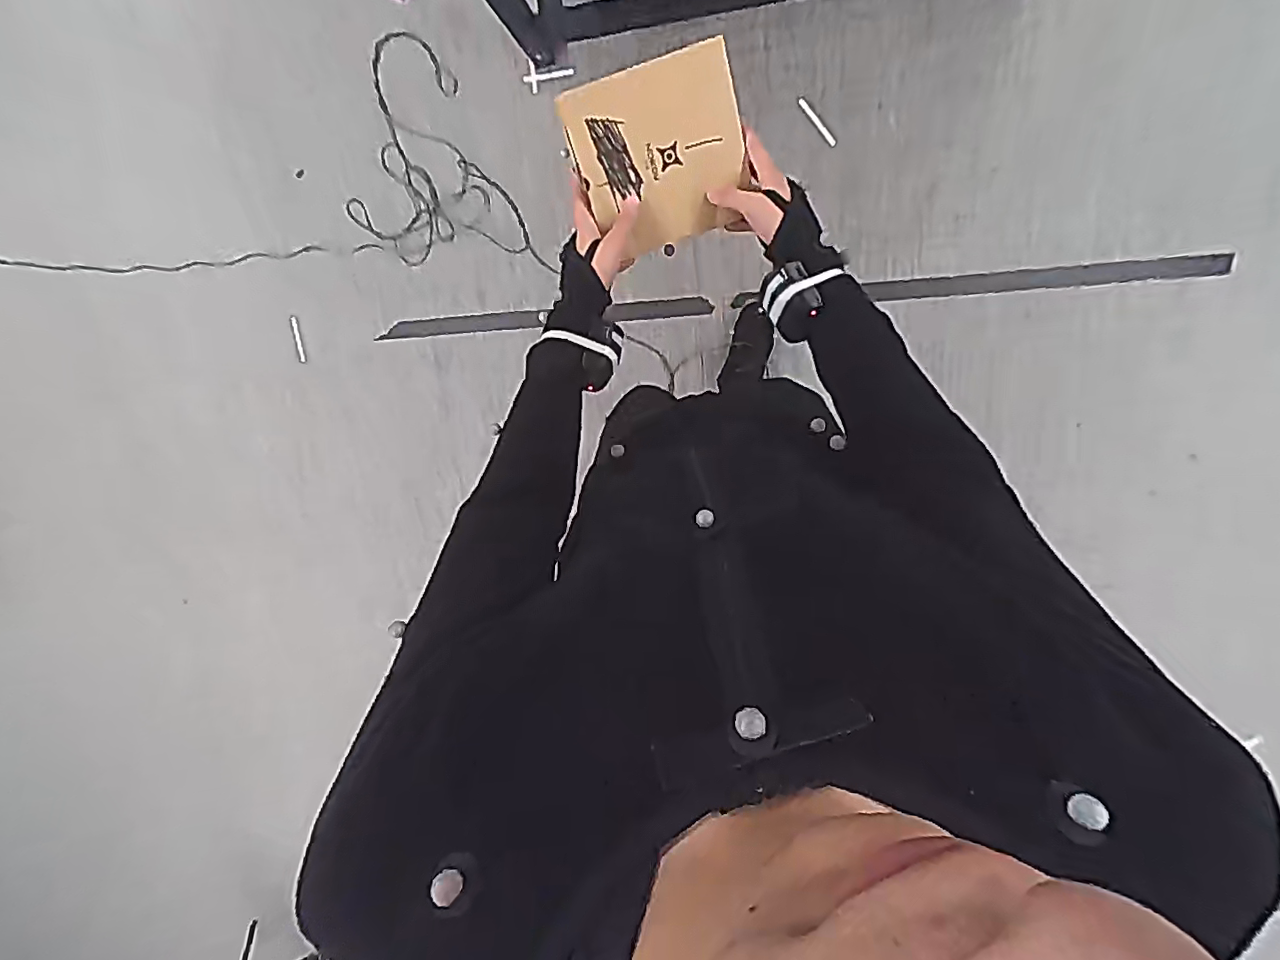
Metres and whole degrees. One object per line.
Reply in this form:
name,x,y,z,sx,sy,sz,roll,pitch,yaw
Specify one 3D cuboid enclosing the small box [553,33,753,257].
small box,0.012,-0.371,0.634,0.179,0.176,0.168,-18,114,2
